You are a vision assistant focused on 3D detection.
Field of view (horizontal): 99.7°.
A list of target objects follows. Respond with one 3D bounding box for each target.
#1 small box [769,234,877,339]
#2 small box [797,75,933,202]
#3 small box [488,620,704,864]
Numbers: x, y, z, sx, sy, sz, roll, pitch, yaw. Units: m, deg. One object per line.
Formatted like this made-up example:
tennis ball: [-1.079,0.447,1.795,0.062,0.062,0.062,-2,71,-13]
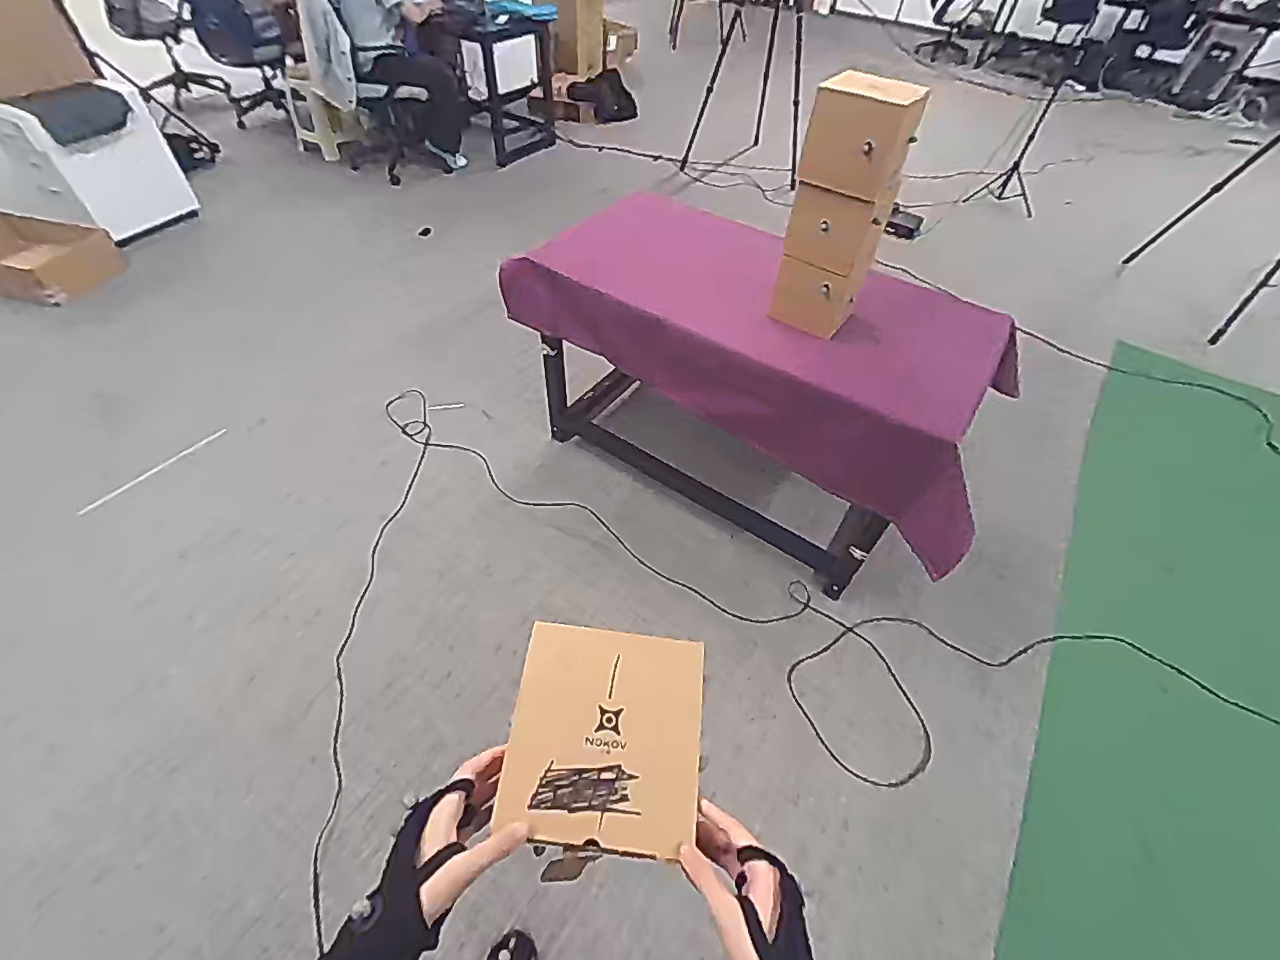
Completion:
small box: [0.449,-0.476,1.346,0.179,0.176,0.168,31,54,21]
small box: [0.448,-0.687,1.094,0.179,0.176,0.168,31,54,21]
small box: [-0.037,0.262,0.538,0.168,0.176,0.179,10,55,-1]
